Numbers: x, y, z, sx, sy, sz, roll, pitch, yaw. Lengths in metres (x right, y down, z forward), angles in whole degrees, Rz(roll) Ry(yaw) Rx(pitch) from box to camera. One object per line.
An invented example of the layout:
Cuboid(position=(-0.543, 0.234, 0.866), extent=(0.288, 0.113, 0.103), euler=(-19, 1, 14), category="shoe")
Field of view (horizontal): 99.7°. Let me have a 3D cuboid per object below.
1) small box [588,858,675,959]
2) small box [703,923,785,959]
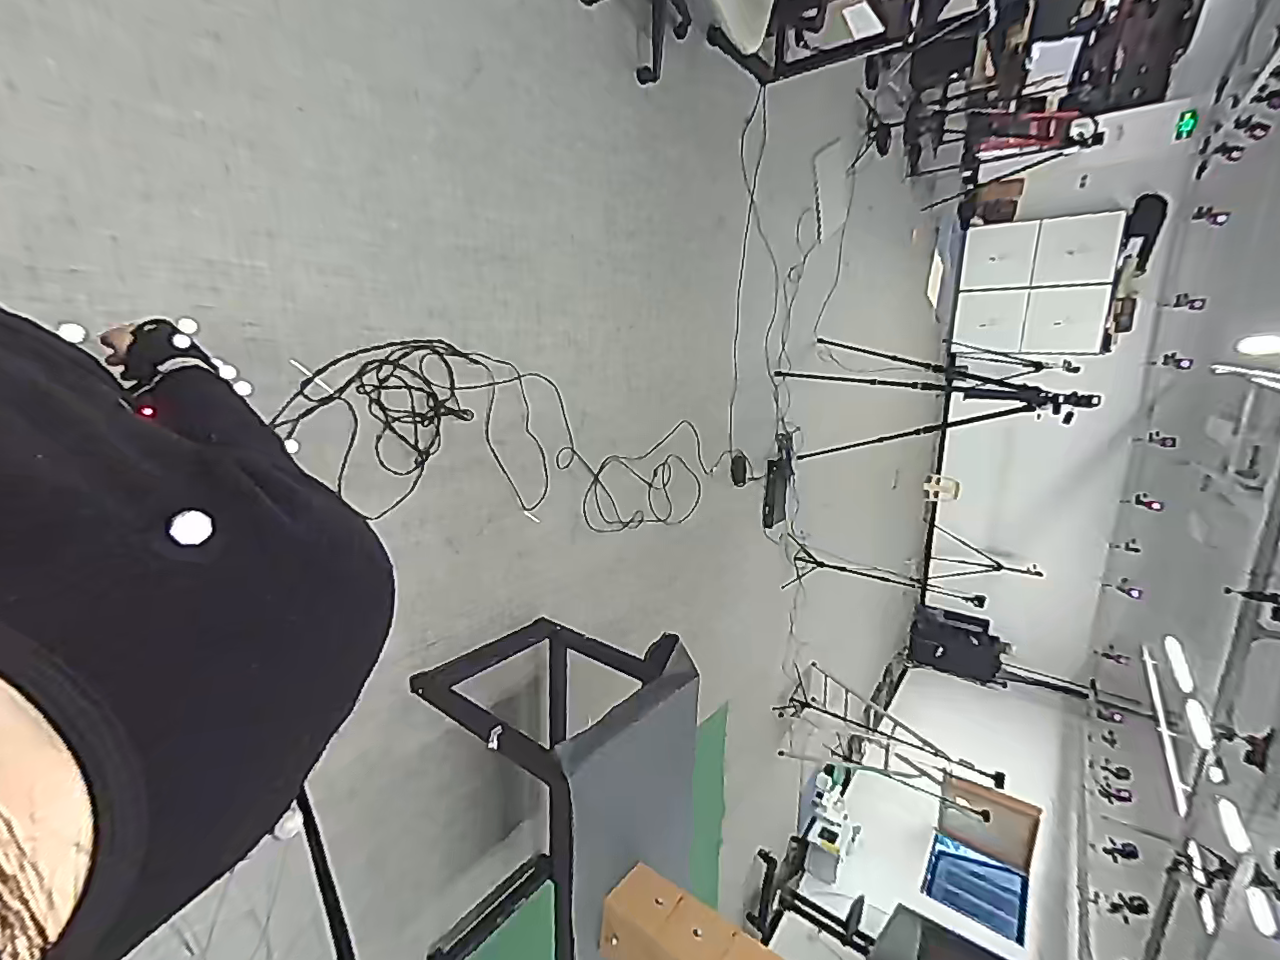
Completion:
Cuboid(position=(-0.024, 1.227, 1.528), extent=(0.179, 0.176, 0.168), euler=(-6, 103, -54), category="small box")
Cuboid(position=(0.242, 1.271, 1.343), extent=(0.179, 0.176, 0.168), euler=(-13, 109, -53), category="small box")
